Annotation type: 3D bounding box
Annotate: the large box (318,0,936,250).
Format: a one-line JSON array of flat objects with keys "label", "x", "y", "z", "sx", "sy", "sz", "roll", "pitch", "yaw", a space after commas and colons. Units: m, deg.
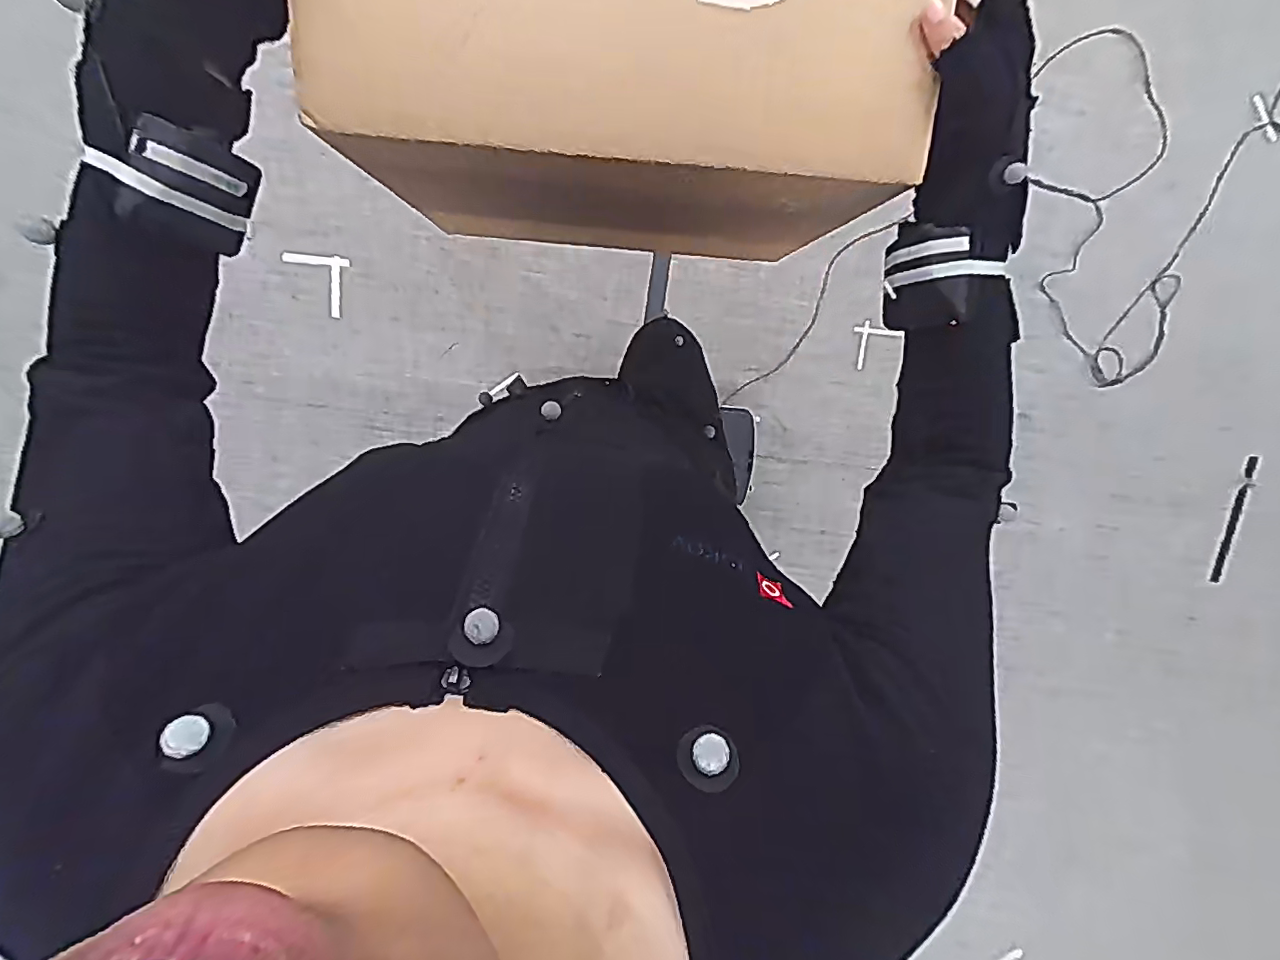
[{"label": "large box", "x": -0.010, "y": -0.405, "z": 0.476, "sx": 0.408, "sy": 0.320, "sz": 0.320, "roll": 2, "pitch": 103, "yaw": -5}]
